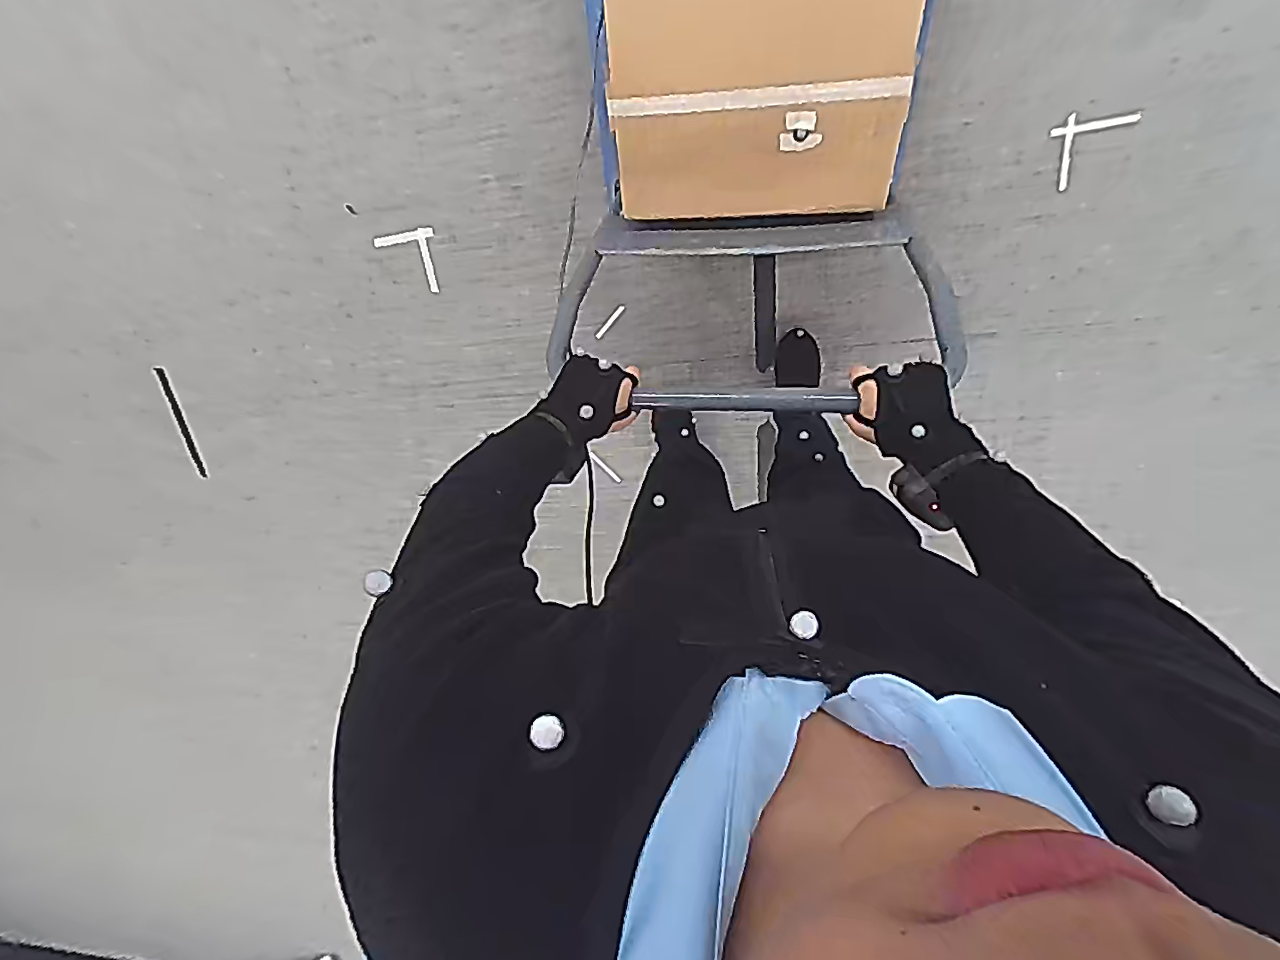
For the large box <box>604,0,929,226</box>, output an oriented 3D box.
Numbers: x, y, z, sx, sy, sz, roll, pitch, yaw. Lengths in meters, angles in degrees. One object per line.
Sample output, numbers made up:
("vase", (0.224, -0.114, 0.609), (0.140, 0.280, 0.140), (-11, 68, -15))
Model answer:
("large box", (0.180, -0.616, 0.848), (0.408, 0.320, 0.320), (2, 132, 9))
